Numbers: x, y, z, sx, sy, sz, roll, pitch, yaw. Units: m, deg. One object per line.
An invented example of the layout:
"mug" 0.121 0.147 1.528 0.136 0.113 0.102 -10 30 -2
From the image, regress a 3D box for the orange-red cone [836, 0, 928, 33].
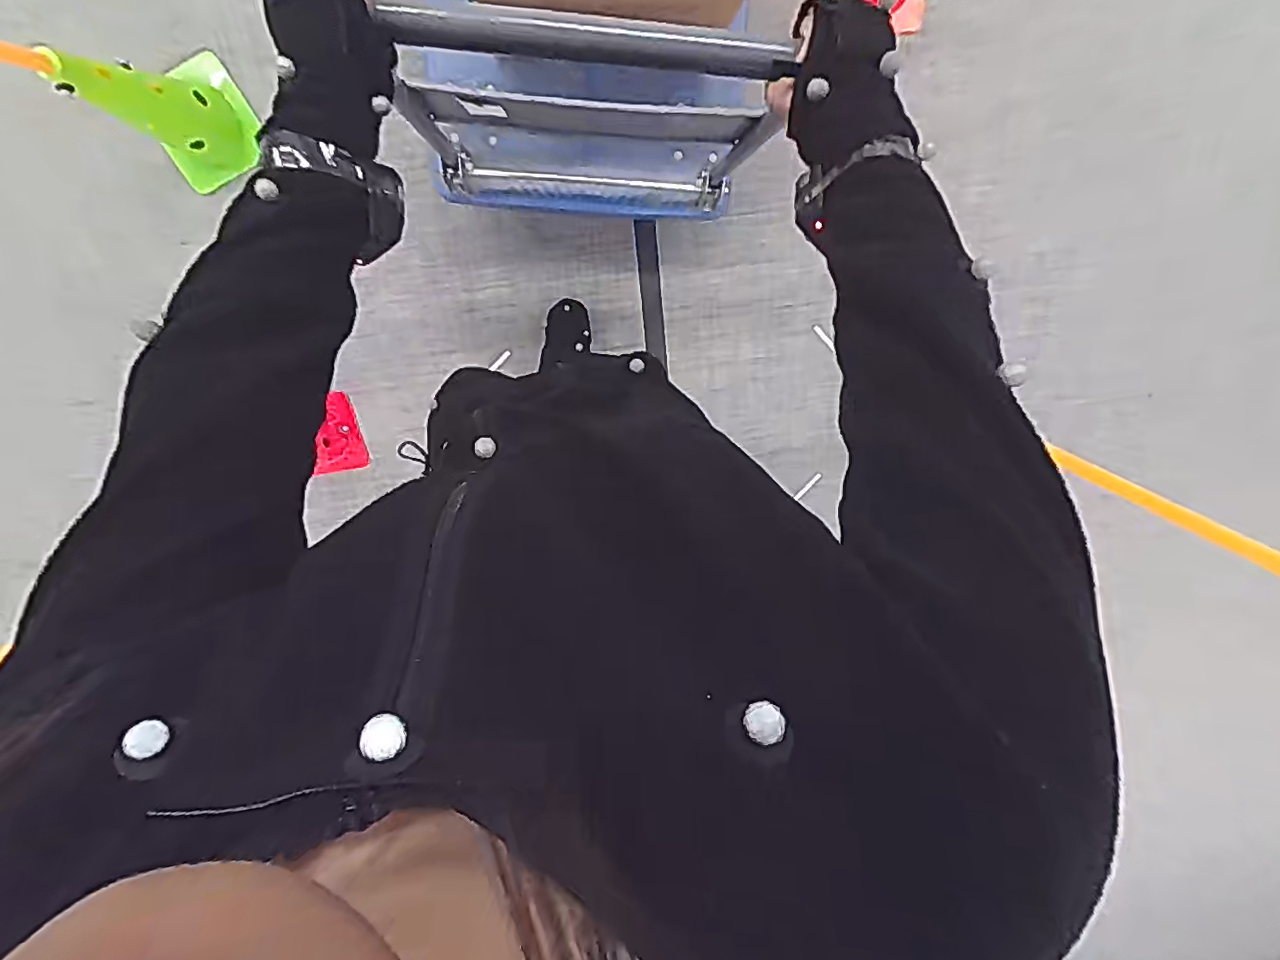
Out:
"orange-red cone" 0.527 -0.985 0.954 0.199 0.360 0.198 -2 111 -6
